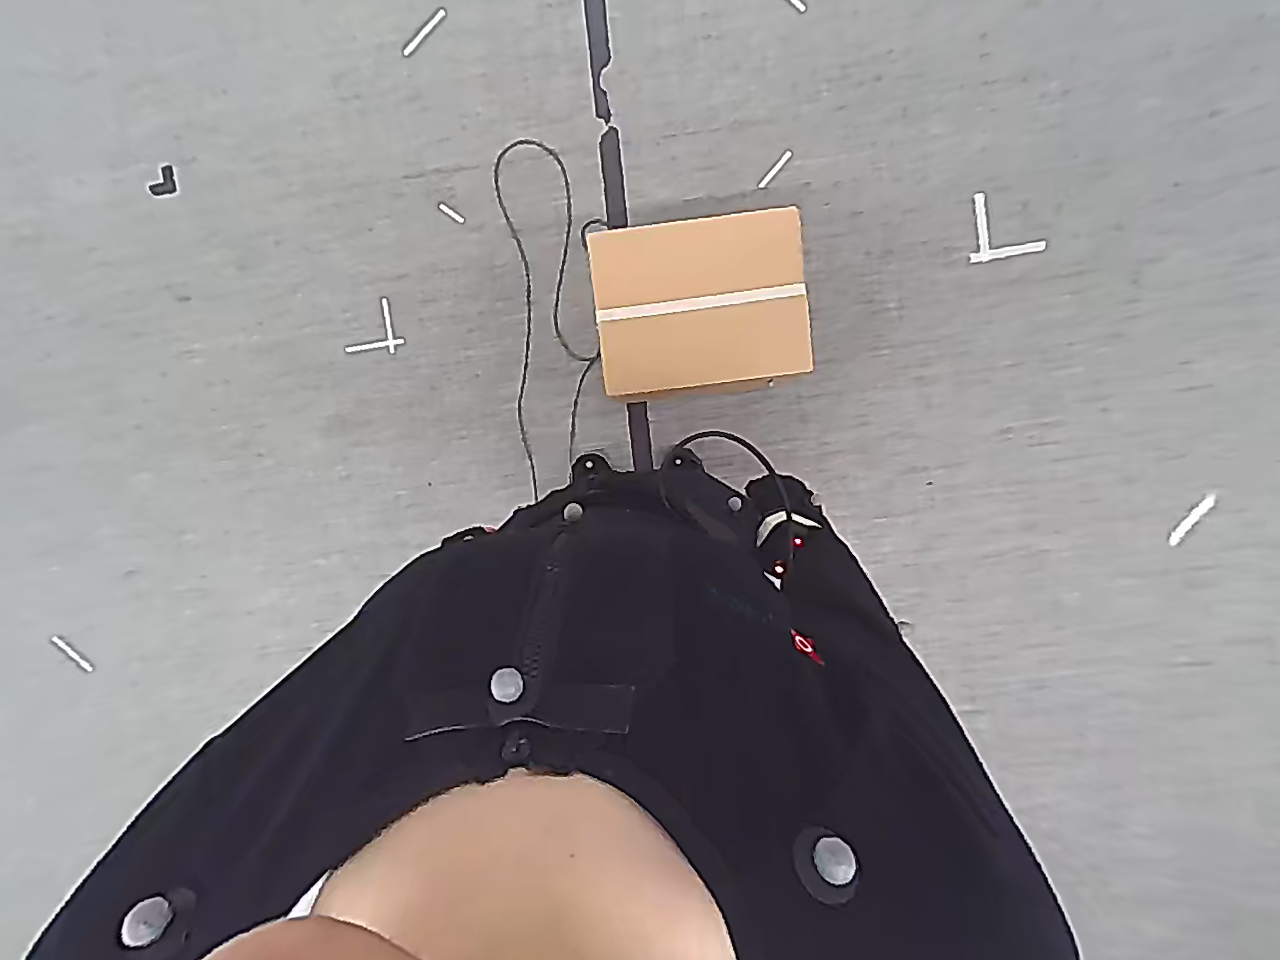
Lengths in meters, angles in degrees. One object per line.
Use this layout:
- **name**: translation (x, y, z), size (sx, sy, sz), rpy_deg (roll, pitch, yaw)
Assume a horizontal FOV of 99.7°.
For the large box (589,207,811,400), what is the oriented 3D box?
- **large box**: translation (0.122, -0.357, 1.189), size (0.408, 0.320, 0.320), rpy_deg (-7, 95, 2)
